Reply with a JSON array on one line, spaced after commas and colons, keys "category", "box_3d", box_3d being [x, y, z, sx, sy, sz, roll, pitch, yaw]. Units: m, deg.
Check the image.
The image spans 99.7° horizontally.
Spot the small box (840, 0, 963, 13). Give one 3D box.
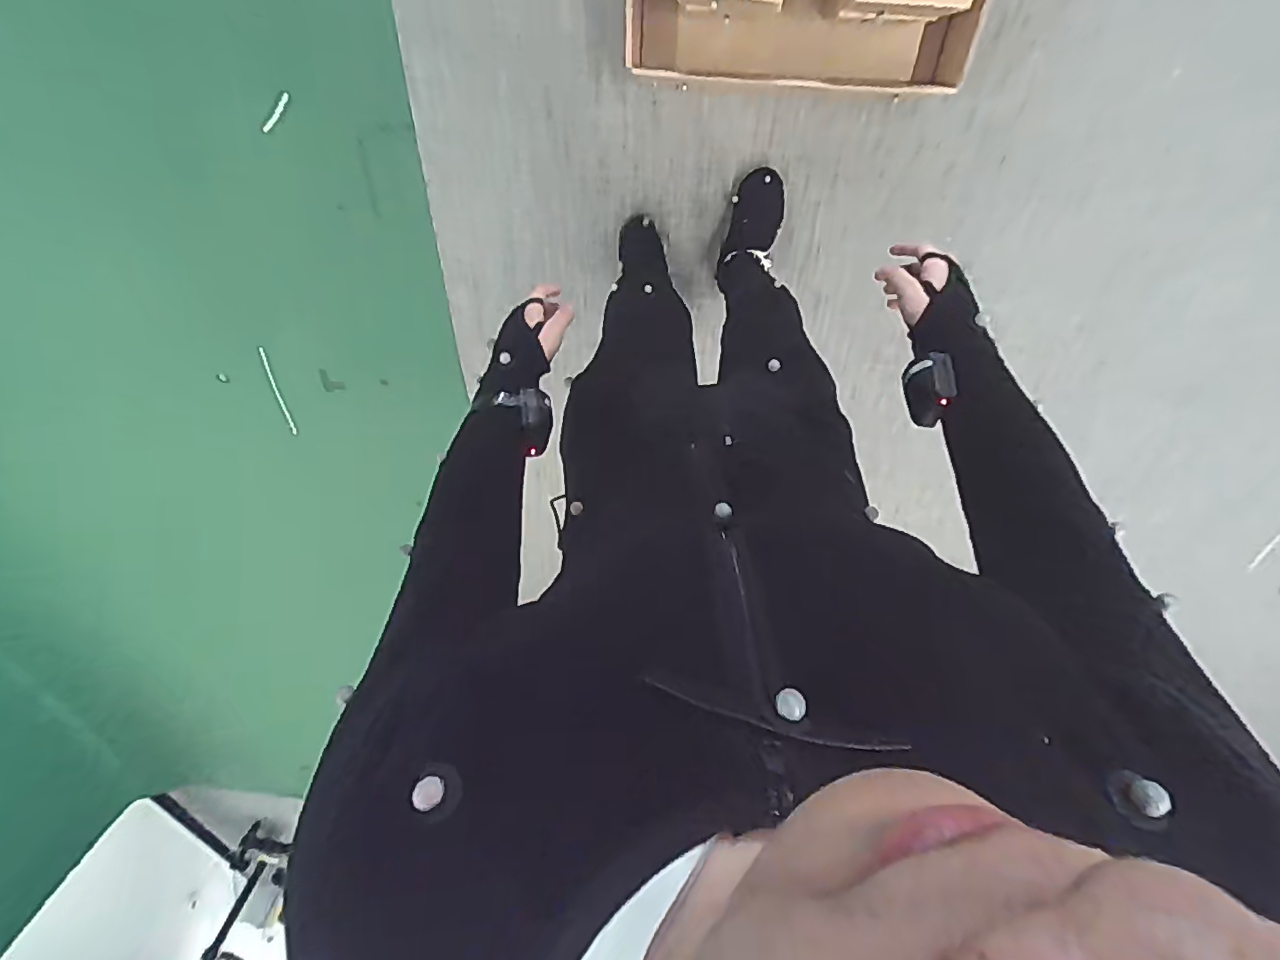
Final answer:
[{"category": "small box", "box_3d": [0.401, -0.814, 0.793, 0.168, 0.176, 0.179, 8, 128, 4]}]

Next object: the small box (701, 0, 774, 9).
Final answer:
[{"category": "small box", "box_3d": [0.140, -0.836, 0.805, 0.168, 0.176, 0.179, 9, 127, 1]}]

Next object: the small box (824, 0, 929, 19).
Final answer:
[{"category": "small box", "box_3d": [0.421, -0.909, 0.924, 0.168, 0.176, 0.179, 6, 127, 4]}]

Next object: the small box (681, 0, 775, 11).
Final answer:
[{"category": "small box", "box_3d": [0.160, -0.933, 0.937, 0.168, 0.176, 0.179, 3, 128, 3]}]
